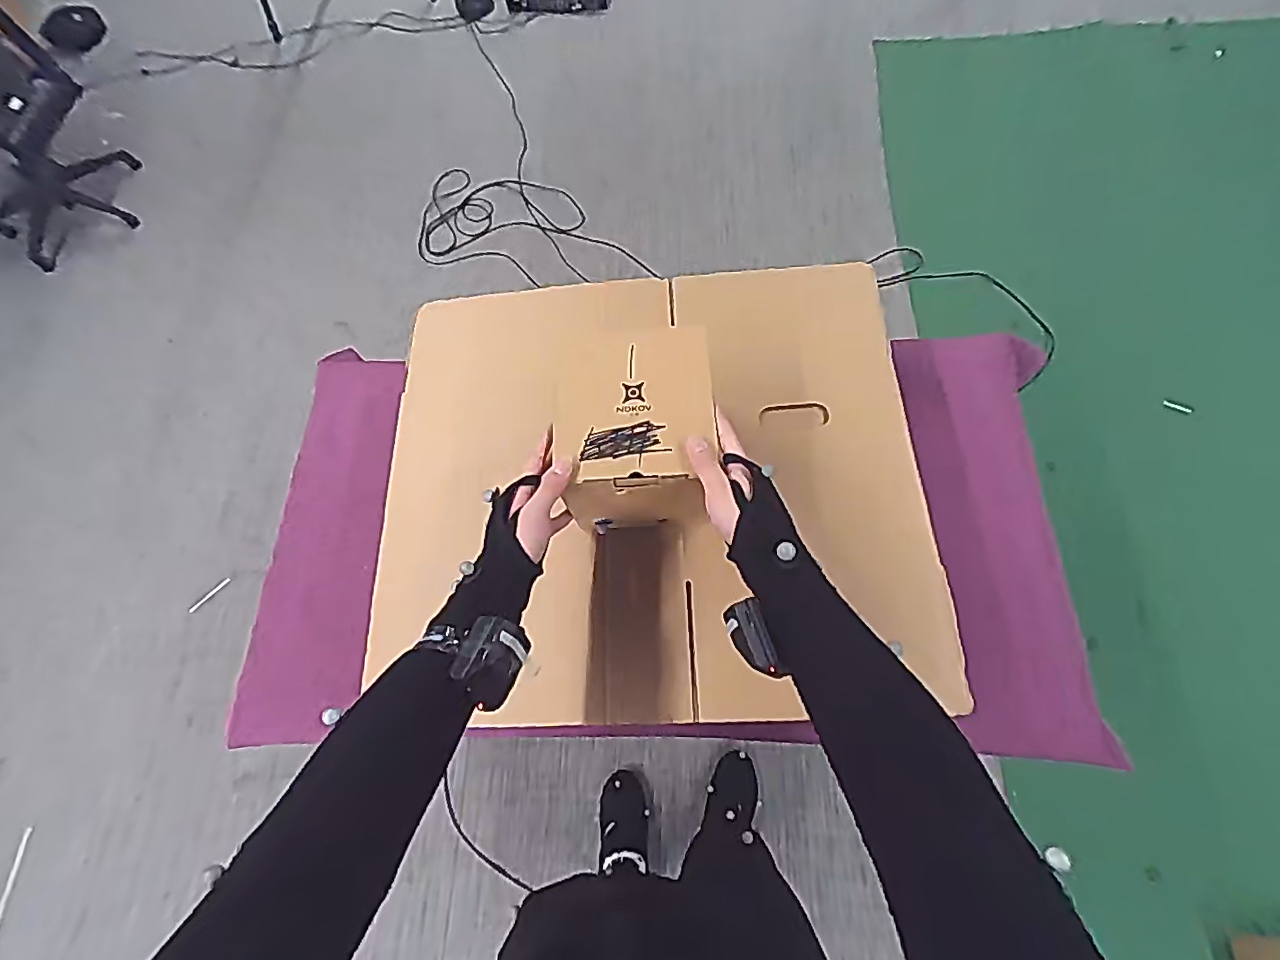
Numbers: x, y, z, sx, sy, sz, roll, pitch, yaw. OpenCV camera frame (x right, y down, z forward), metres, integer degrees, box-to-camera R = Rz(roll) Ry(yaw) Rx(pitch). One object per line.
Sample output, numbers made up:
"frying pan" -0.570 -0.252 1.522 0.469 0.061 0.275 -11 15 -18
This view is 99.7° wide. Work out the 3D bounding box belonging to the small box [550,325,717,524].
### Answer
"small box" -0.002 -0.051 0.621 0.168 0.176 0.179 -3 68 3
